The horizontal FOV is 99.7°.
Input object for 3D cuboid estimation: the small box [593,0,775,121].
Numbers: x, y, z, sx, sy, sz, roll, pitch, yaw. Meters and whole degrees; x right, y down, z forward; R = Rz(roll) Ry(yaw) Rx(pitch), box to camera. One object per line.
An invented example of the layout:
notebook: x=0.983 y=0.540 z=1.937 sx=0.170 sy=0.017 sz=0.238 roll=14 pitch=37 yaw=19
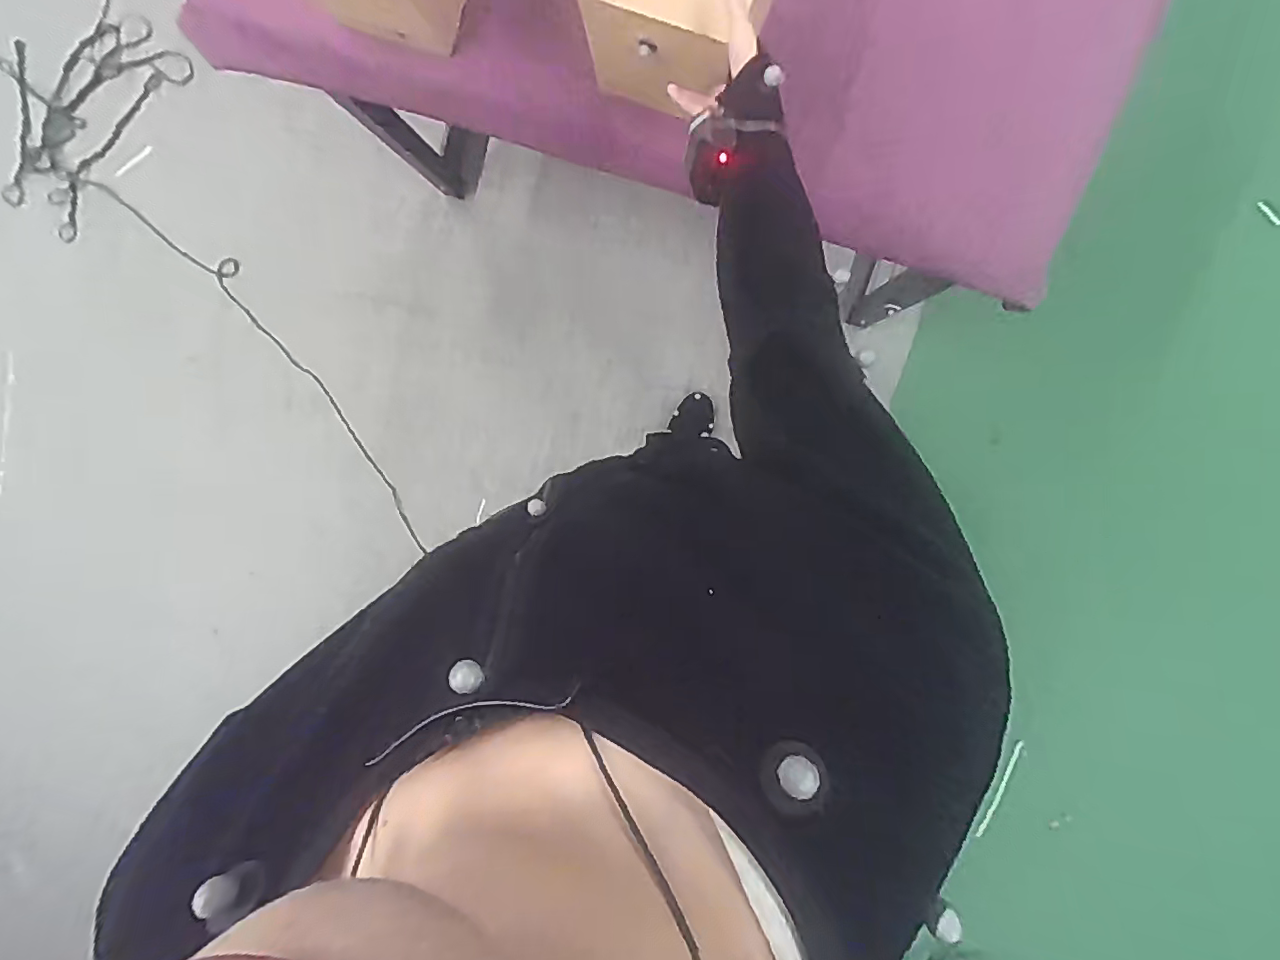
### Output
small box: x=0.055 y=-0.550 z=0.610 sx=0.179 sy=0.176 sz=0.168 roll=20 pitch=98 yaw=1

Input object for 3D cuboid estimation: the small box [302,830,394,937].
small box: x=-0.889 y=1.230 z=1.663 sx=0.168 sy=0.176 sz=0.179 roll=21 pitch=100 yaw=3
